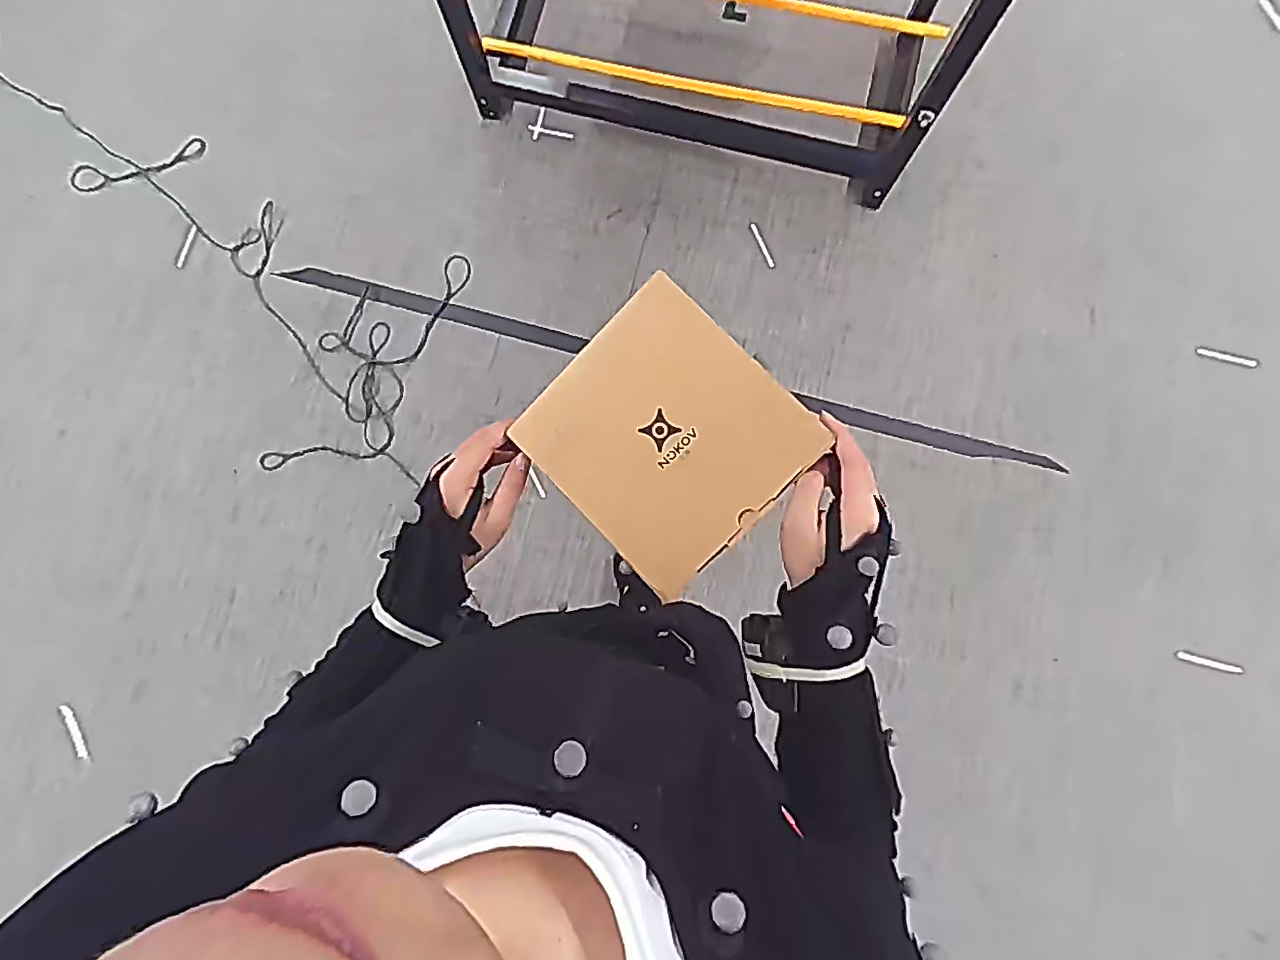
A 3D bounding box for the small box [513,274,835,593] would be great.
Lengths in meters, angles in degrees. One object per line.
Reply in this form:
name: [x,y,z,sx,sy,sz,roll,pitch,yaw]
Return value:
small box: [0.030,-0.032,0.466,0.168,0.176,0.179,-45,85,6]
